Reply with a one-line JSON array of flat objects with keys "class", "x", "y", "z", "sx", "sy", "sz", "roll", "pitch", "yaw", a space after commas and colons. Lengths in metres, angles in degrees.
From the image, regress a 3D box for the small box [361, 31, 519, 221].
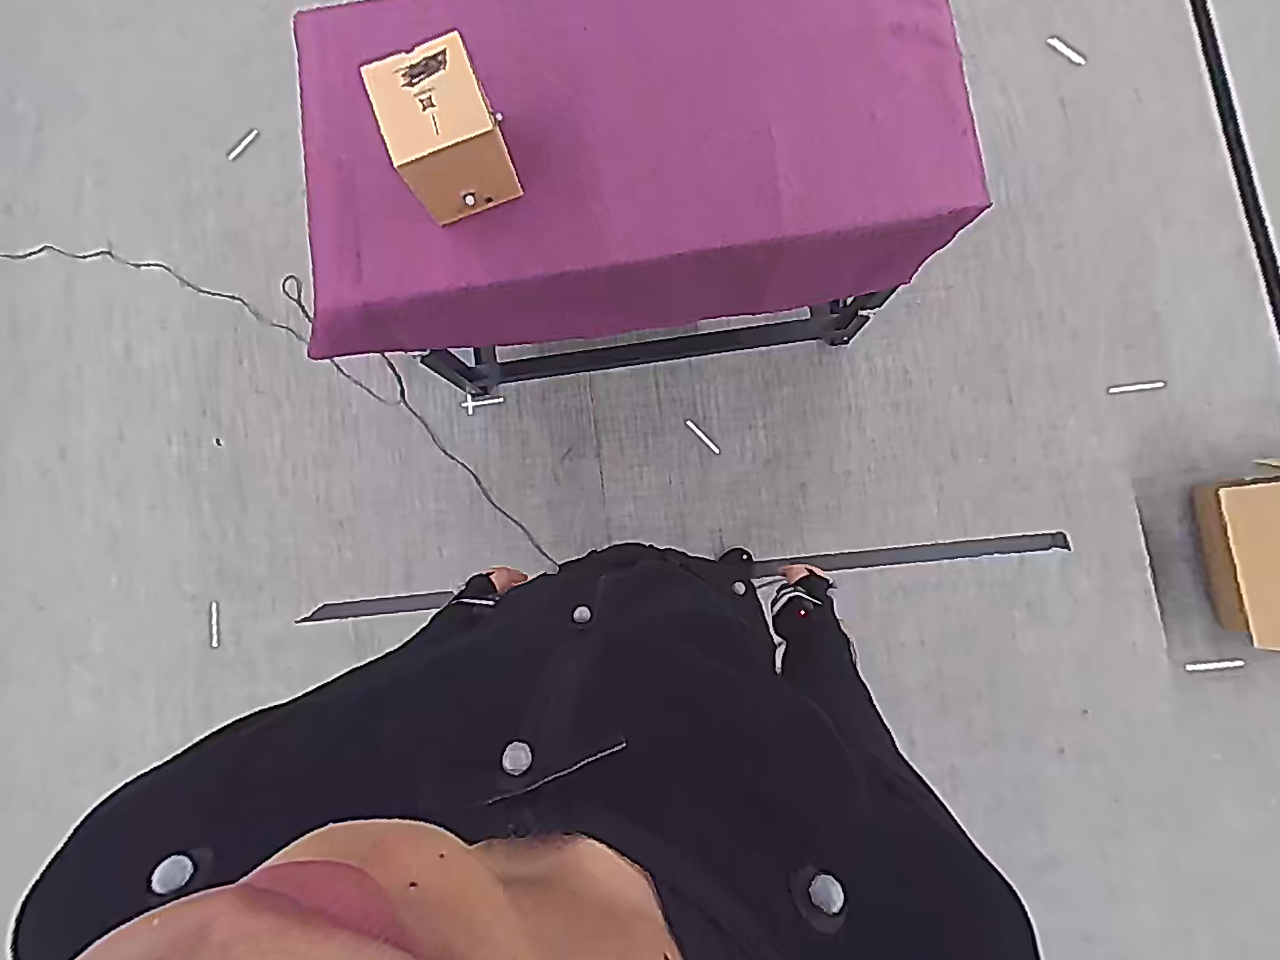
[{"class": "small box", "x": -0.321, "y": -0.575, "z": 0.900, "sx": 0.168, "sy": 0.176, "sz": 0.179, "roll": -21, "pitch": 85, "yaw": 2}]
